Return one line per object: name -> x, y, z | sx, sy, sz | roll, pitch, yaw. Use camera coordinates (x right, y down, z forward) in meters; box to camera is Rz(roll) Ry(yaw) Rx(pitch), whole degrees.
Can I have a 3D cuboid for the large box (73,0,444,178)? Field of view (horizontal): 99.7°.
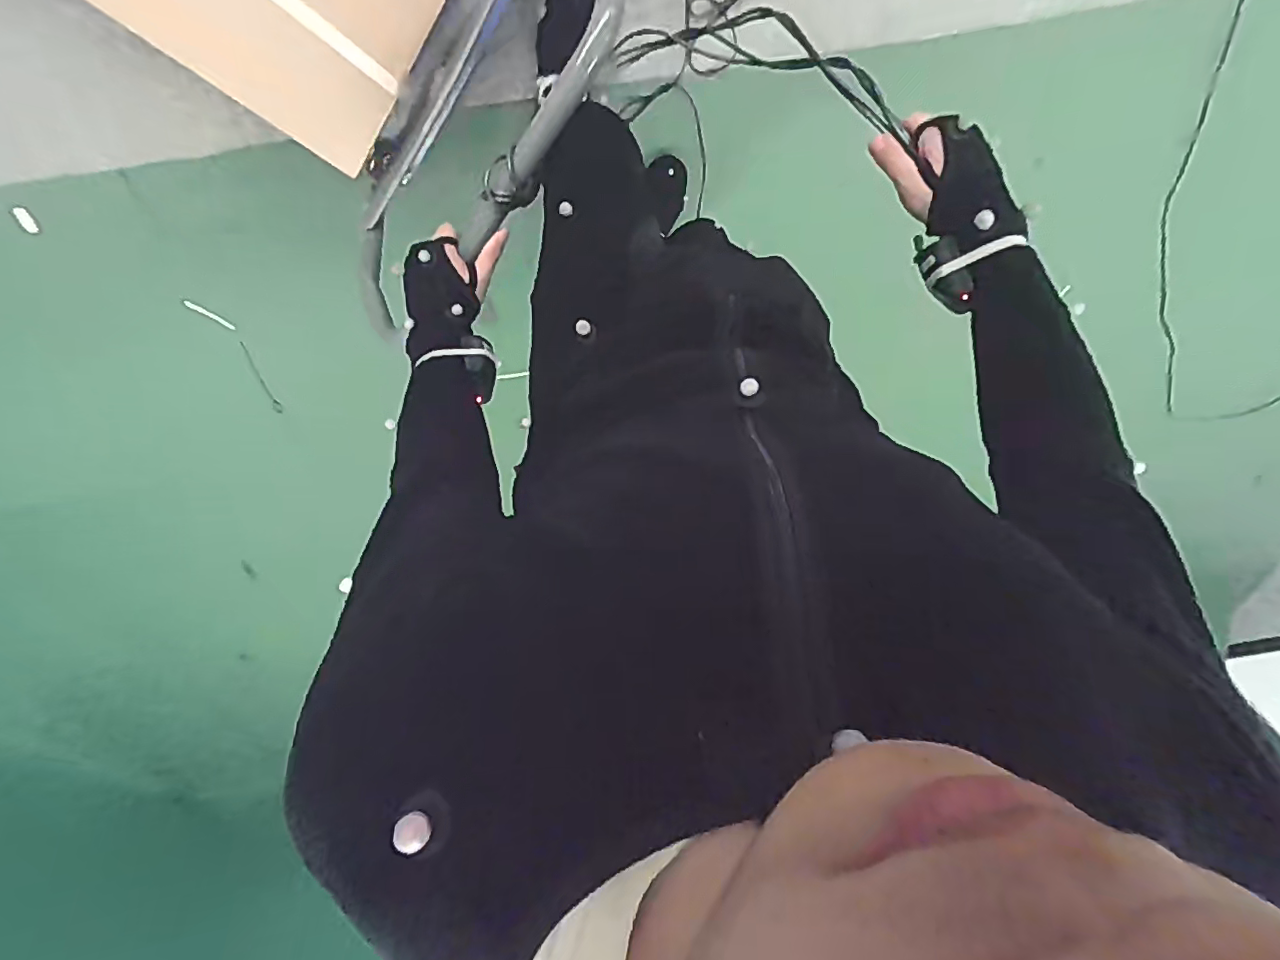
large box -> -0.534, -0.746, 0.786 | 0.408, 0.320, 0.320 | 27, 121, -37
